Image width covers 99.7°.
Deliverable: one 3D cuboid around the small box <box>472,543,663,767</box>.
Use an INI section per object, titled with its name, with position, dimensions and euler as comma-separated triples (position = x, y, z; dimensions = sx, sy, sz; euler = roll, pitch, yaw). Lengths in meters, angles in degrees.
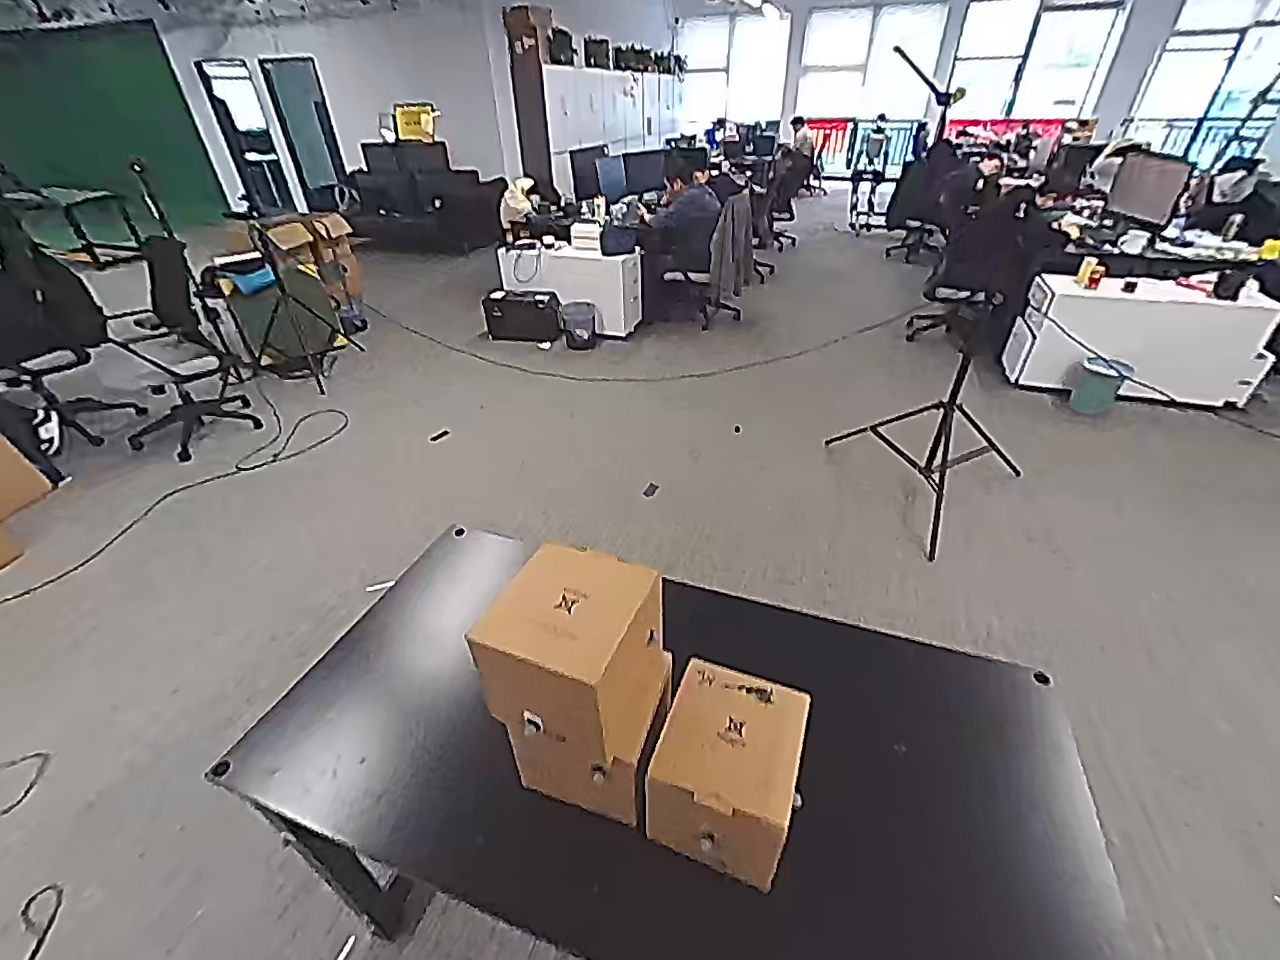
[small box]
position = -0.077, 0.211, 0.674
dimensions = 0.168, 0.176, 0.179
euler = 11, 38, 20
